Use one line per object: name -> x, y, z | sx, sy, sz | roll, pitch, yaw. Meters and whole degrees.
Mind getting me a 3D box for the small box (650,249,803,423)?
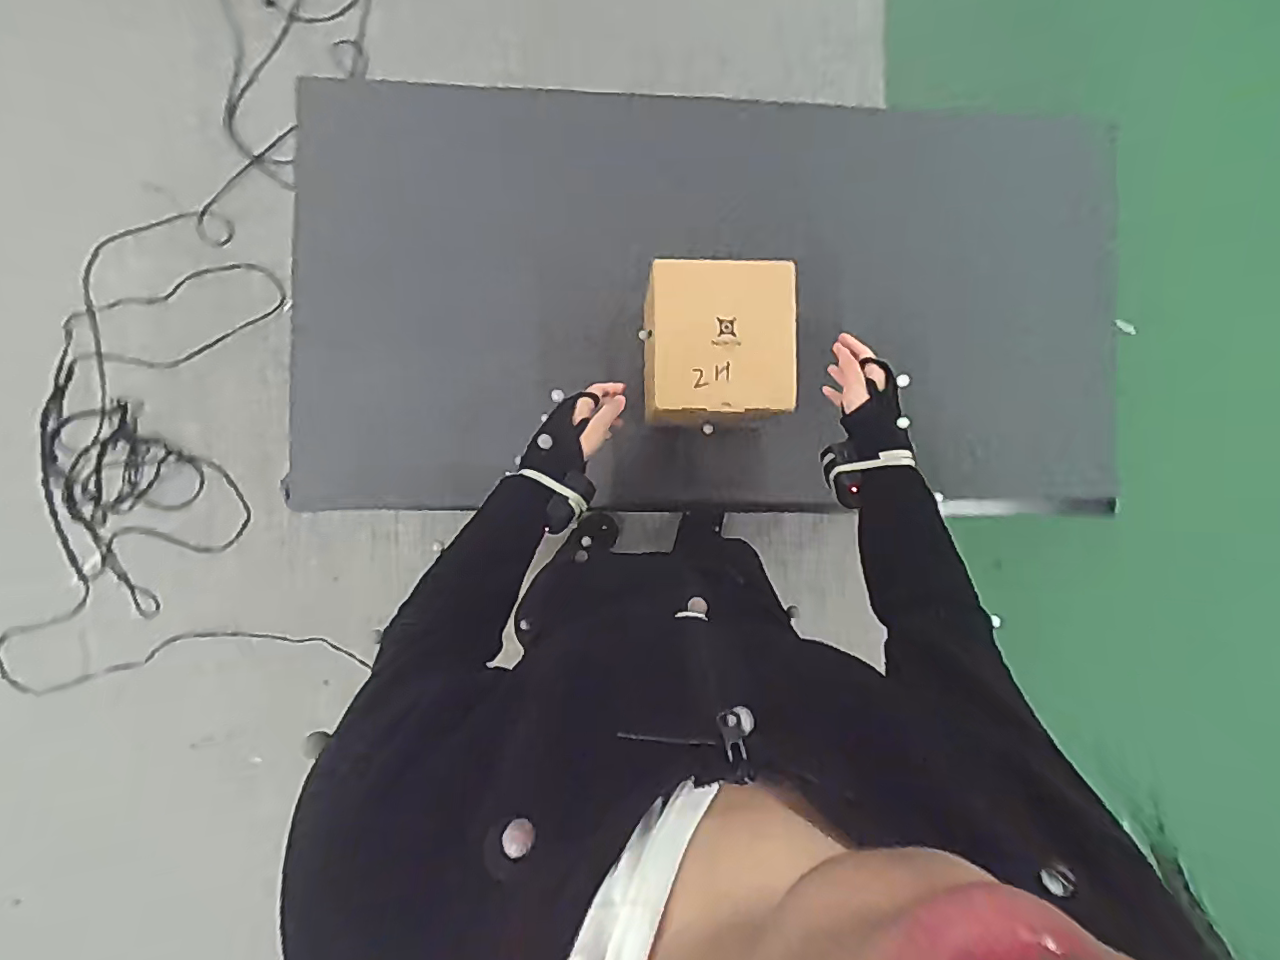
small box -> 0.100, -0.172, 0.693 | 0.168, 0.176, 0.179 | 0, 89, -2
